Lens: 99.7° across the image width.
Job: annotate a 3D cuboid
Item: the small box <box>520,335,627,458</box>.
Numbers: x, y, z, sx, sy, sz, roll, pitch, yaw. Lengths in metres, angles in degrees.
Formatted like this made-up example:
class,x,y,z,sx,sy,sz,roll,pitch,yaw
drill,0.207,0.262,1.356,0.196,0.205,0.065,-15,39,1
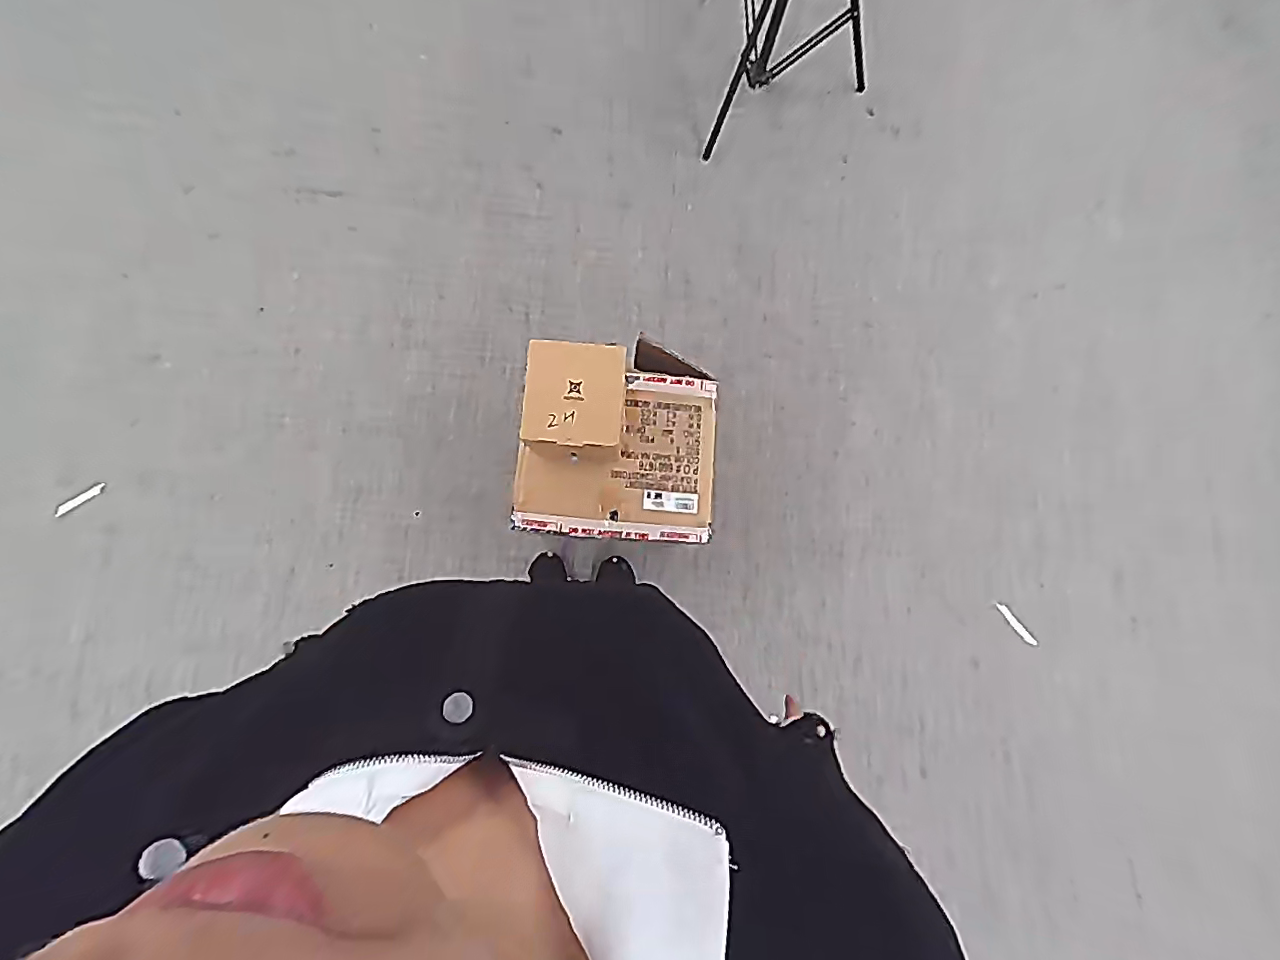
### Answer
class,x,y,z,sx,sy,sz,roll,pitch,yaw
small box,-0.114,-0.143,0.978,0.168,0.176,0.179,5,85,-1
